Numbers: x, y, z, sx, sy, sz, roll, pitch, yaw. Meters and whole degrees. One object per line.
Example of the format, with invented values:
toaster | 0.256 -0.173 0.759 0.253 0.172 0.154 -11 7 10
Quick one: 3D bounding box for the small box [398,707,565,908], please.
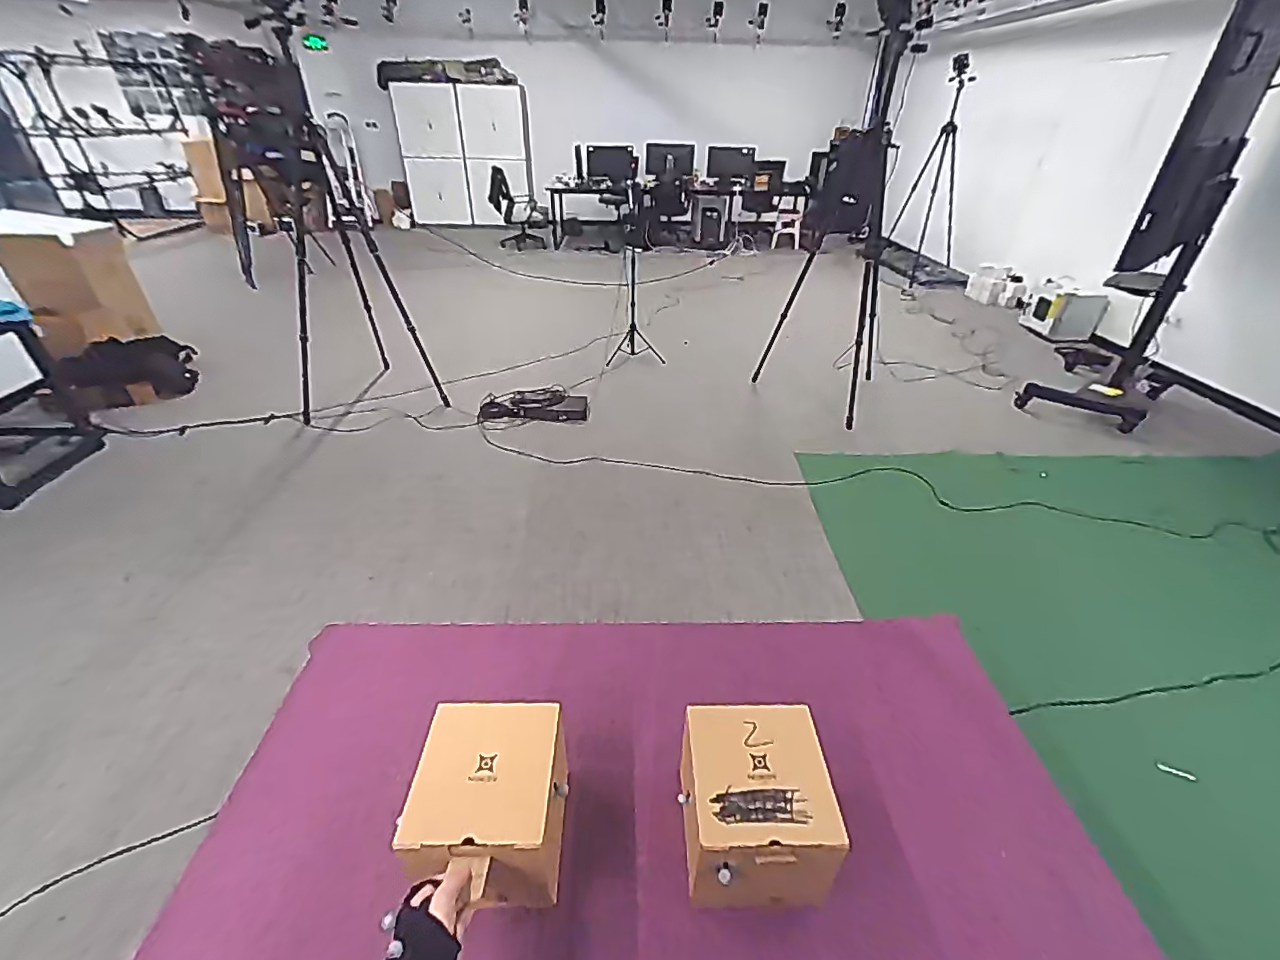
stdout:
small box | -0.192 0.428 0.715 0.168 0.176 0.179 0 34 -1
